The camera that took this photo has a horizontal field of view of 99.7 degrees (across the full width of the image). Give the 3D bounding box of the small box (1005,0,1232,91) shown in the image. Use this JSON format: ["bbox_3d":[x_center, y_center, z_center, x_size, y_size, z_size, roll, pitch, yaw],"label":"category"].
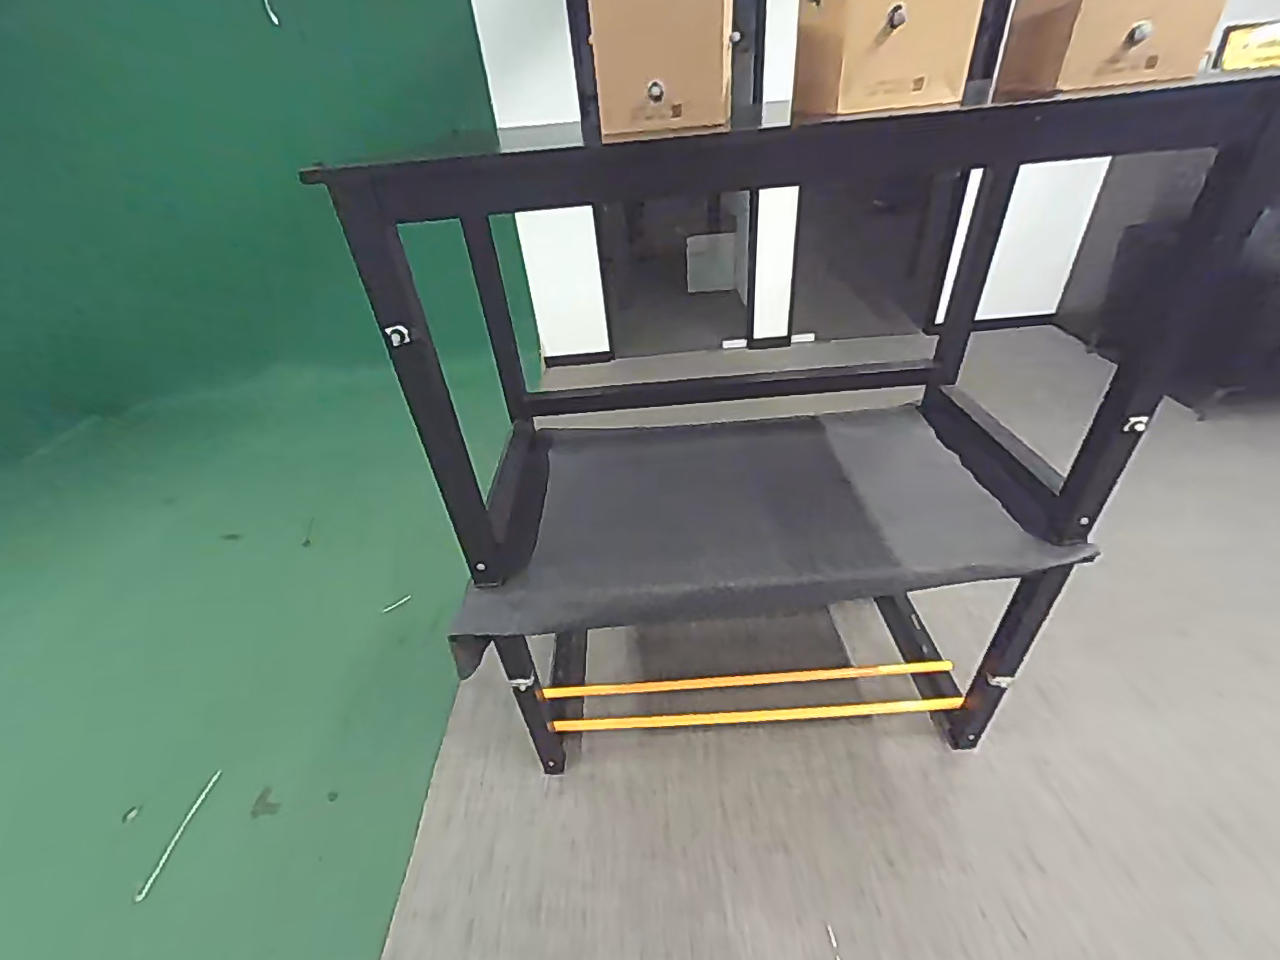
[{"bbox_3d":[0.610,-0.609,0.694,0.168,0.176,0.179,-2,37,7],"label":"small box"}]

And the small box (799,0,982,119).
[{"bbox_3d":[0.318,-0.580,0.702,0.168,0.176,0.179,-7,35,-2],"label":"small box"}]
